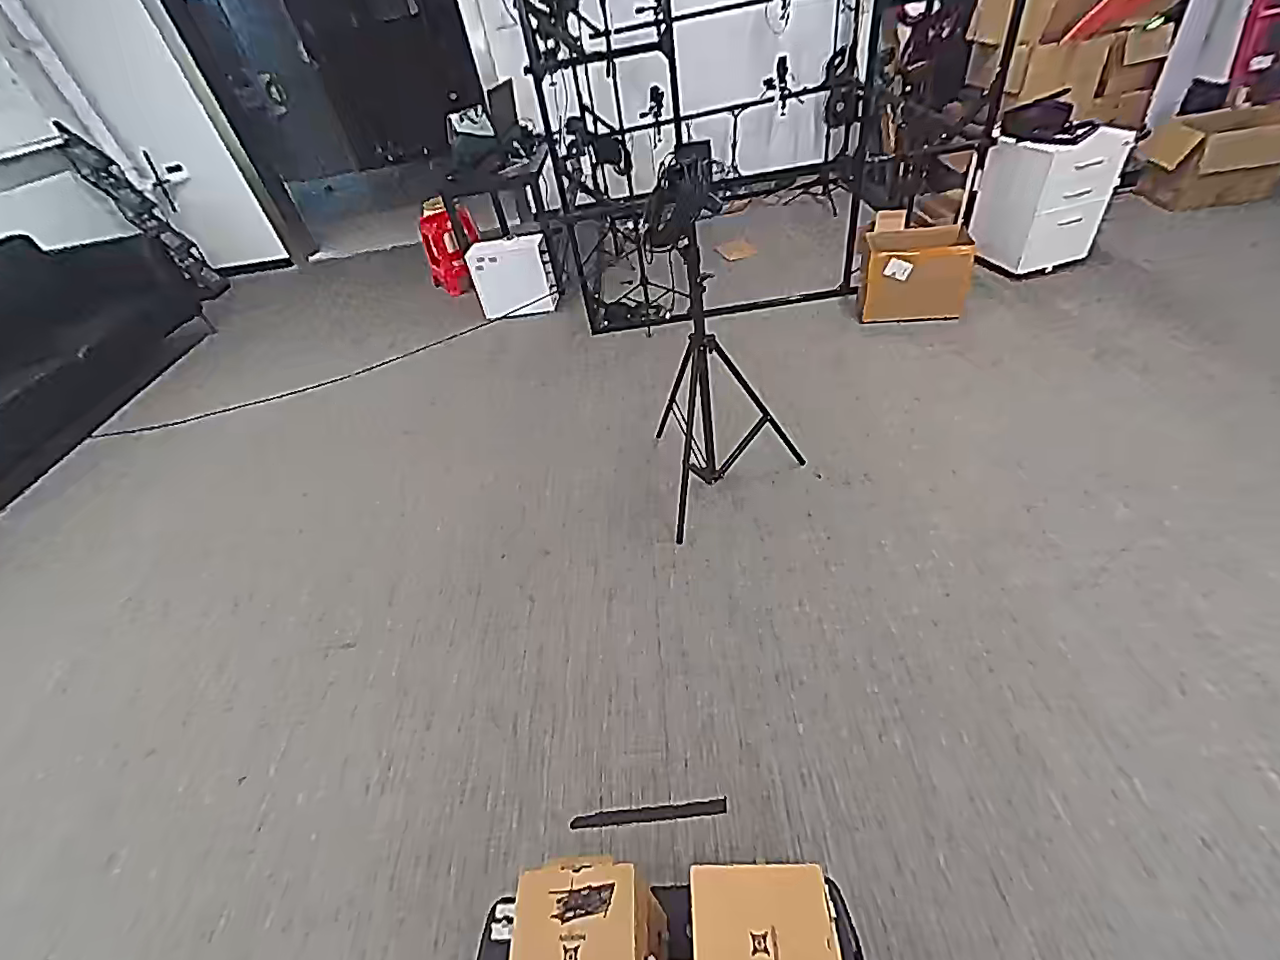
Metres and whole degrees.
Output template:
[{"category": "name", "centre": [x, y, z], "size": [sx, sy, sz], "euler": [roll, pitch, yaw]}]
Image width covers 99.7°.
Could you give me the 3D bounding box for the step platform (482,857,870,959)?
[{"category": "step platform", "centre": [0.059, 0.882, 0.965], "size": [0.684, 0.204, 0.286], "euler": [-8, 41, 4]}]

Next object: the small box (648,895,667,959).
[{"category": "small box", "centre": [-0.048, 0.776, 0.844], "size": [0.168, 0.176, 0.179], "euler": [-7, 41, 6]}]

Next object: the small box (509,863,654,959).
[{"category": "small box", "centre": [-0.074, 0.652, 0.739], "size": [0.168, 0.176, 0.179], "euler": [-7, 42, 6]}]

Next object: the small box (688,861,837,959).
[{"category": "small box", "centre": [0.161, 0.627, 0.717], "size": [0.179, 0.176, 0.168], "euler": [-5, 42, 6]}]
